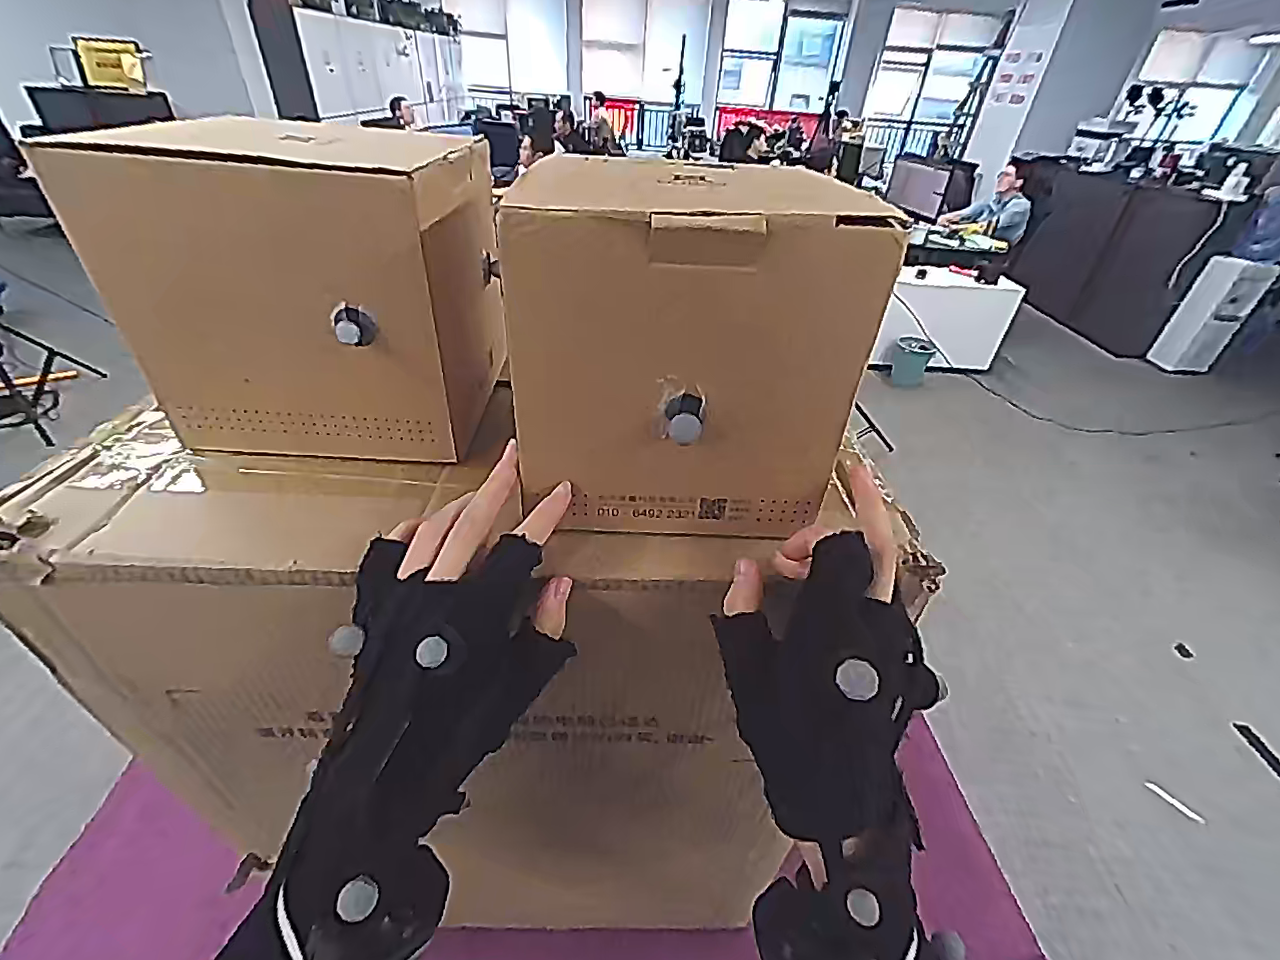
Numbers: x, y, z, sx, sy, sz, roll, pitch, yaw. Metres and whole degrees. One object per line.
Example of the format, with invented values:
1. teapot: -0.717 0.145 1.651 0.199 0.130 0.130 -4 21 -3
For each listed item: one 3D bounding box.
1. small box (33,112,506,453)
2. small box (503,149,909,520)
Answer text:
1. small box: -0.191 -0.130 0.355 0.179 0.176 0.168 2 36 -3
2. small box: 0.025 -0.091 0.326 0.168 0.176 0.179 2 37 -2
